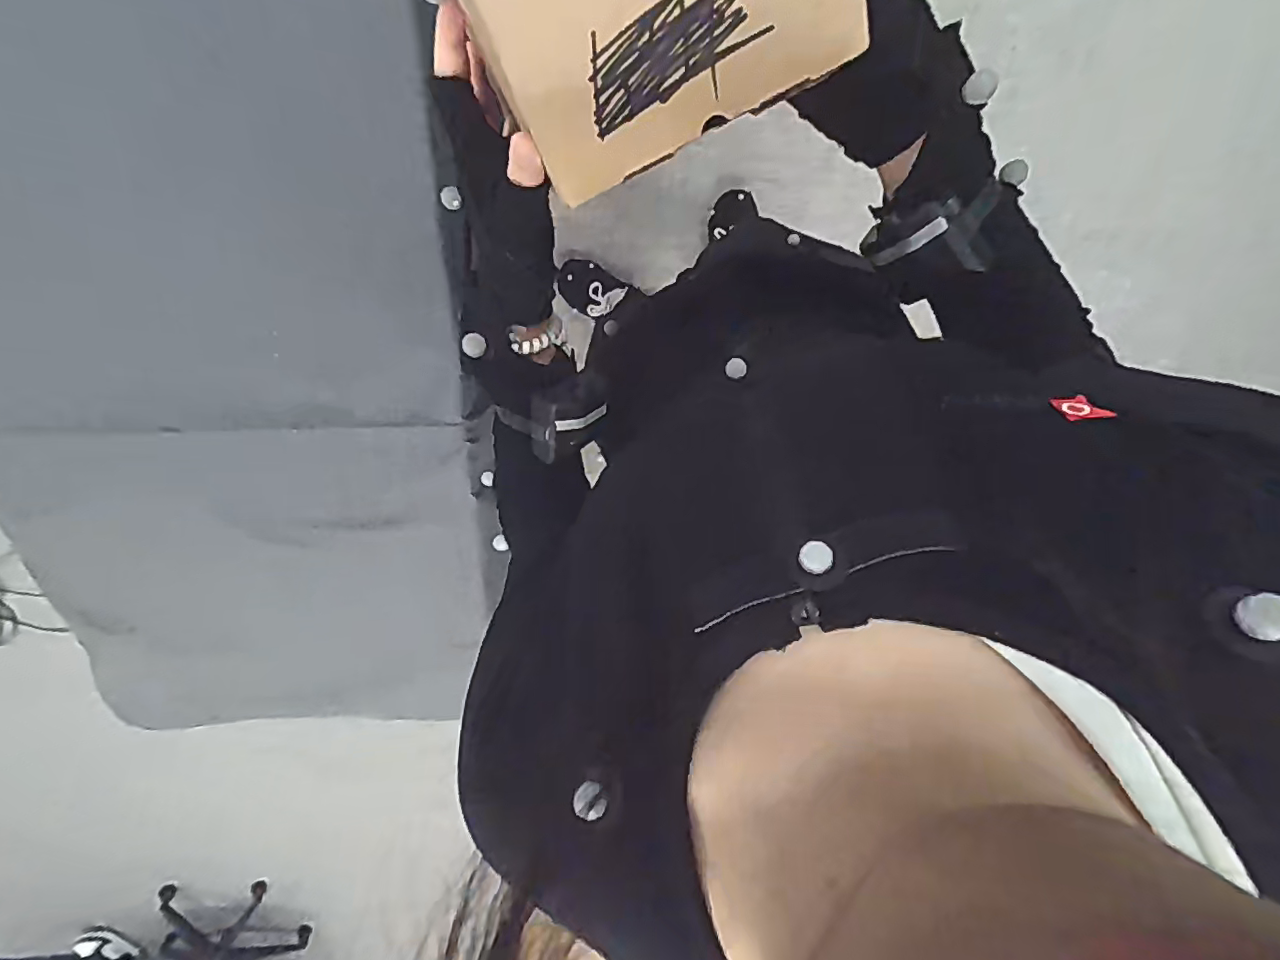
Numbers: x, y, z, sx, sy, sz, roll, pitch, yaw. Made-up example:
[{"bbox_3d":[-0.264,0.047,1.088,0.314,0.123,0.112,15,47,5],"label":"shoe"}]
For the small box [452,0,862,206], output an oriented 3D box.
[{"bbox_3d":[-0.017,-0.276,0.266,0.168,0.176,0.179,-27,133,3],"label":"small box"}]
